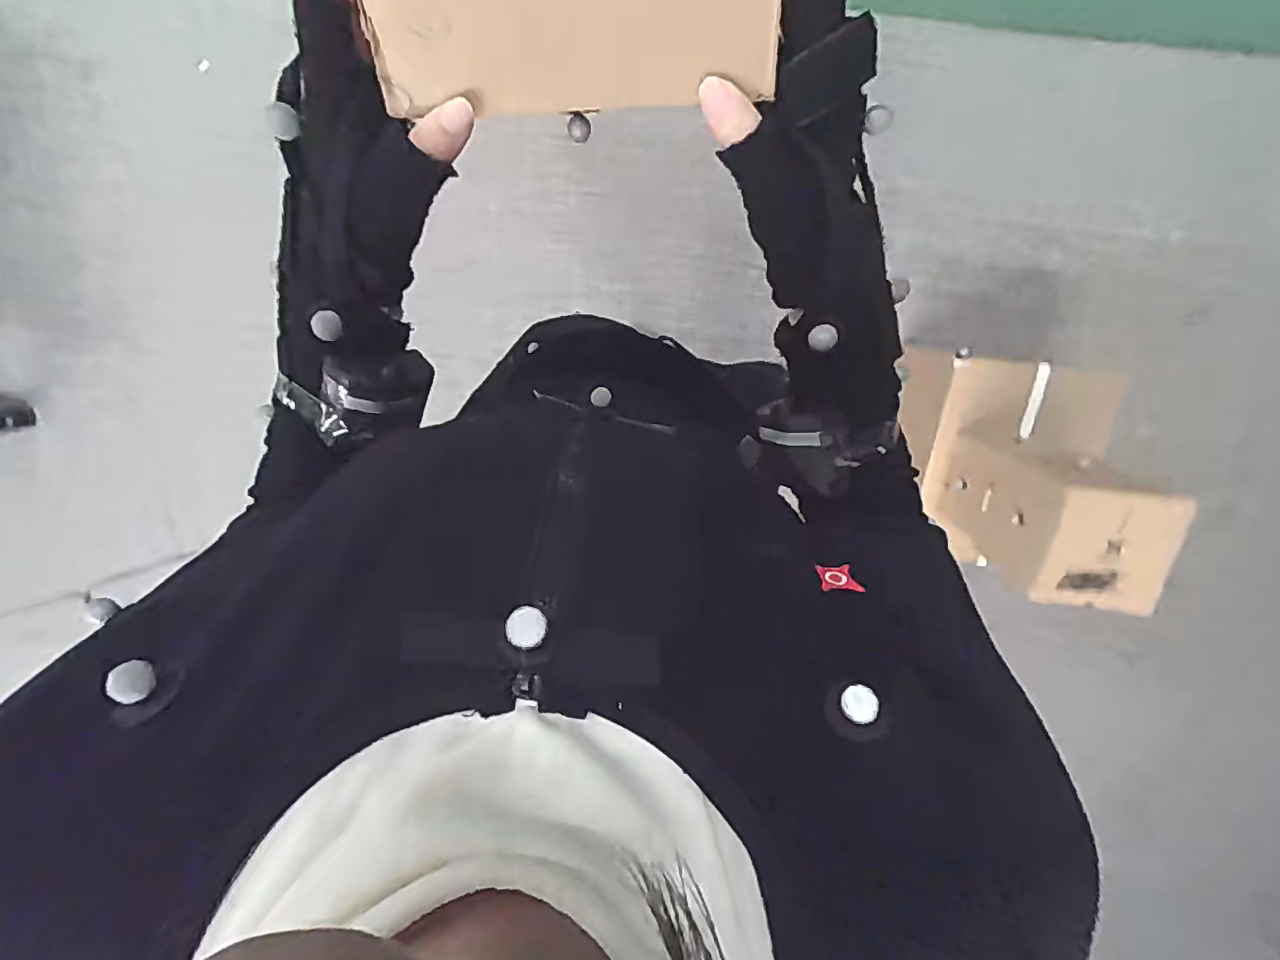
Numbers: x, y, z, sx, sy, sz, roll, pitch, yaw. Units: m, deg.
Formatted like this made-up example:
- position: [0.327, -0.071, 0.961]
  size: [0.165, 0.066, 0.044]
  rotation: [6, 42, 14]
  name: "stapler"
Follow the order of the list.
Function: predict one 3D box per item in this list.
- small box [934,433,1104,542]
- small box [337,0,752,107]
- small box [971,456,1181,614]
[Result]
- position: [0.666, 0.017, 0.979]
  size: [0.179, 0.176, 0.168]
  rotation: [7, 109, 5]
  name: "small box"
- position: [-0.042, -0.284, 0.258]
  size: [0.179, 0.176, 0.168]
  rotation: [-3, 128, 3]
  name: "small box"
- position: [0.642, 0.077, 0.827]
  size: [0.168, 0.176, 0.179]
  rotation: [5, 110, 5]
  name: "small box"
